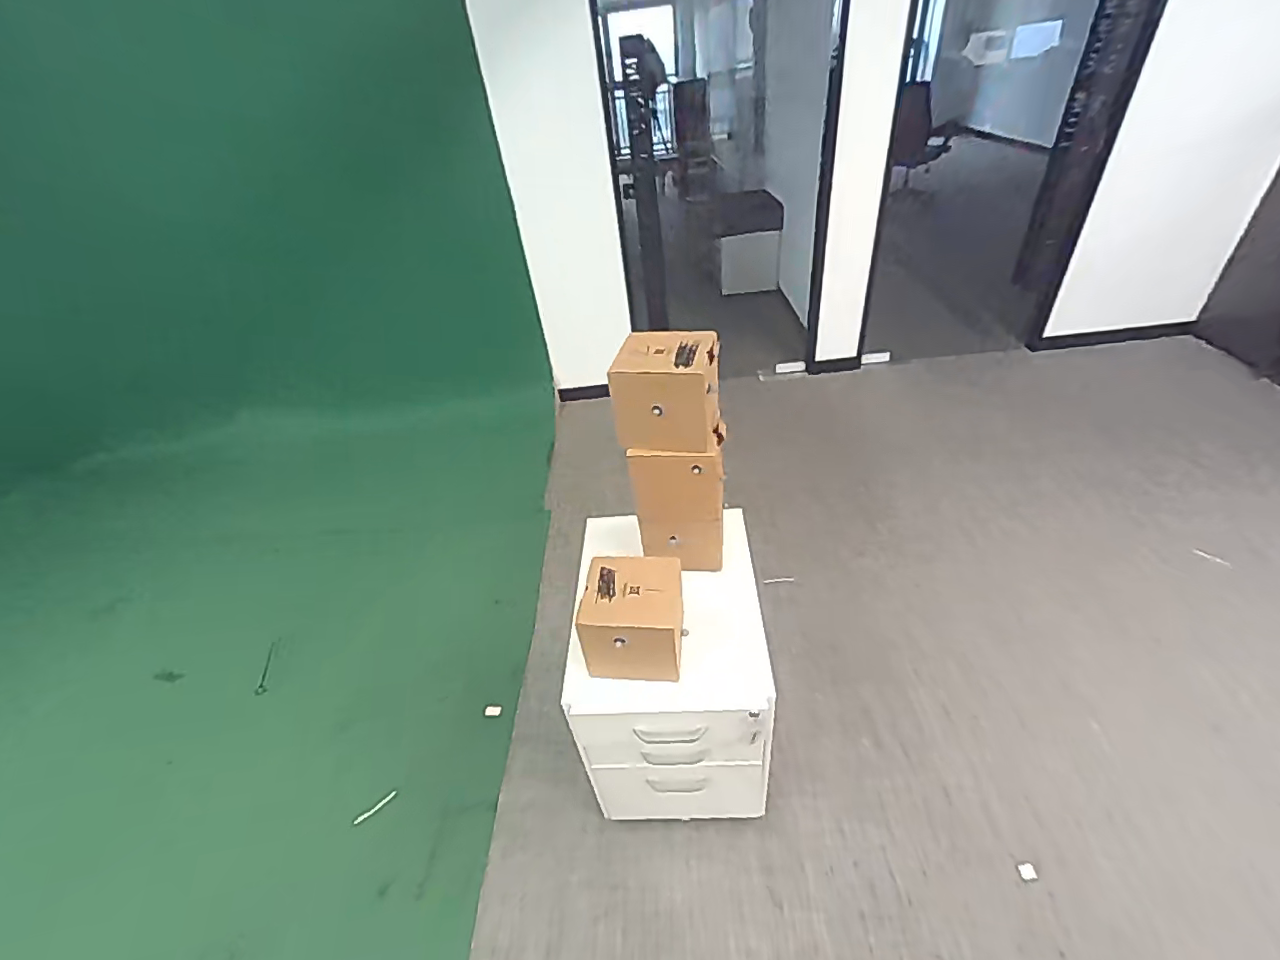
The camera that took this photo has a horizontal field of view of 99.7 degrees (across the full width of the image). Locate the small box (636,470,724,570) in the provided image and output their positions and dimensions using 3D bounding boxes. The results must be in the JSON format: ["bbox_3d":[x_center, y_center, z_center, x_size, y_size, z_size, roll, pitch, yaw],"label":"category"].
[{"bbox_3d":[0.098,0.091,1.234,0.179,0.176,0.168,0,40,11],"label":"small box"}]

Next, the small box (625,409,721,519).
[{"bbox_3d":[0.076,-0.033,1.130,0.179,0.176,0.168,0,40,10],"label":"small box"}]

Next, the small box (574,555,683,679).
[{"bbox_3d":[-0.013,0.263,1.037,0.179,0.176,0.168,1,39,9],"label":"small box"}]
